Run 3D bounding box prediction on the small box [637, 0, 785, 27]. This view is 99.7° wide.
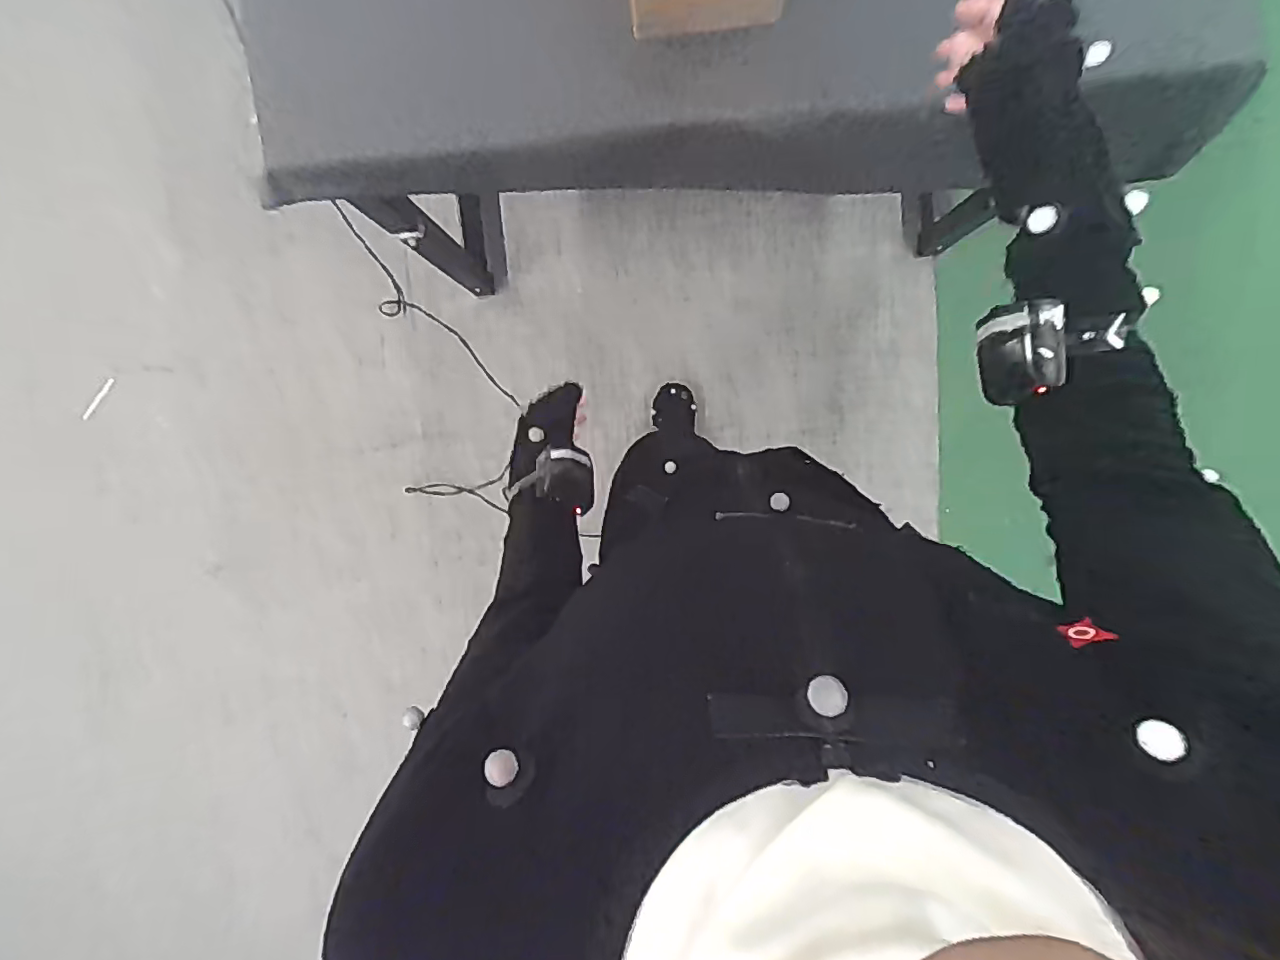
[{"bbox_3d":[0.075,-0.617,0.559,0.179,0.176,0.168,-5,95,3],"label":"small box"}]
